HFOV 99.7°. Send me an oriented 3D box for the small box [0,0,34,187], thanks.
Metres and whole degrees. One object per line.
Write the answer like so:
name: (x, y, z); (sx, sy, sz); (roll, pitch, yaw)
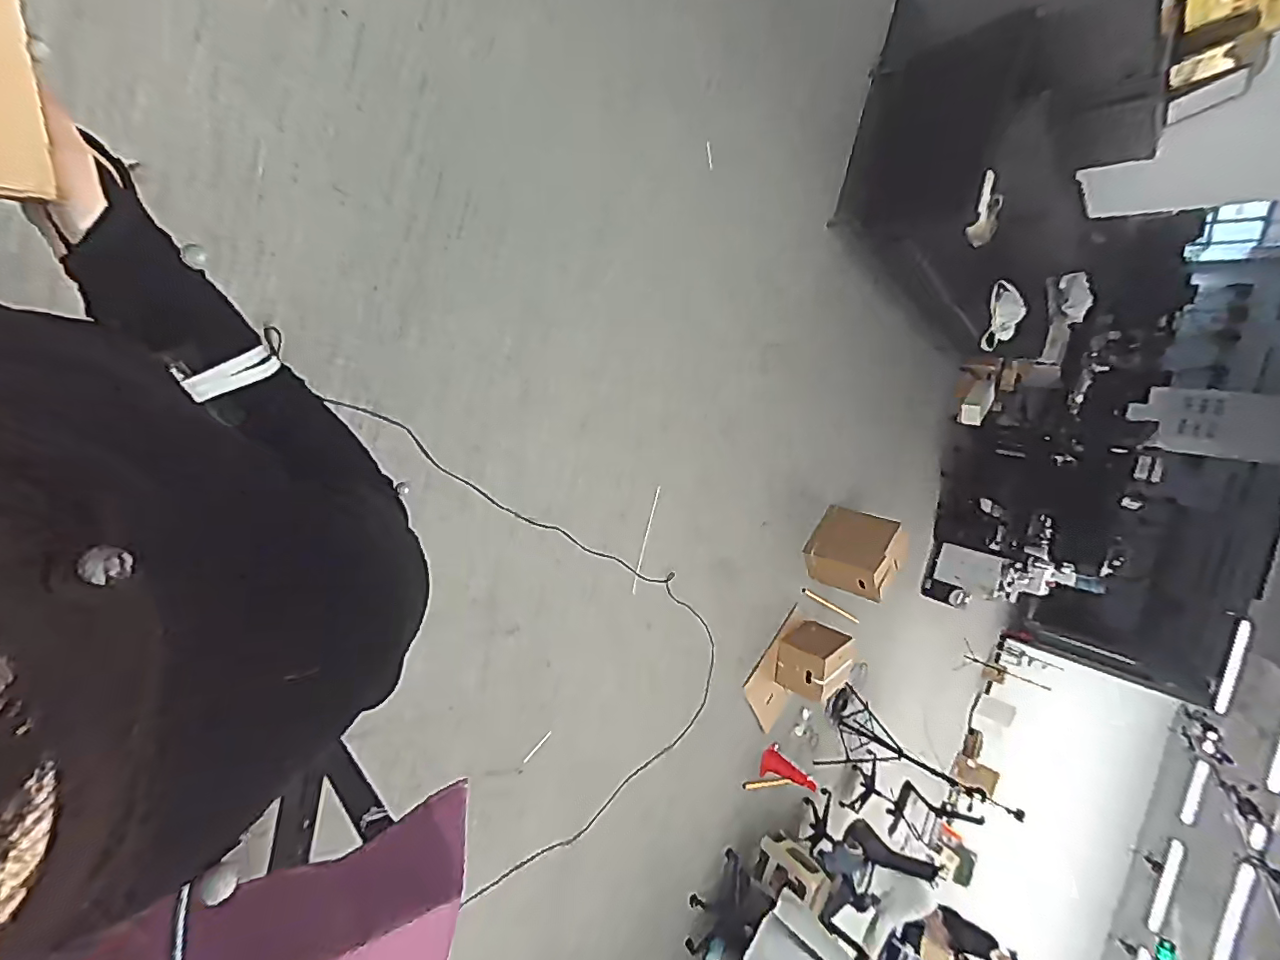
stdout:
small box: (-0.407, -0.240, 0.234); (0.168, 0.176, 0.179); (-16, 119, -49)
